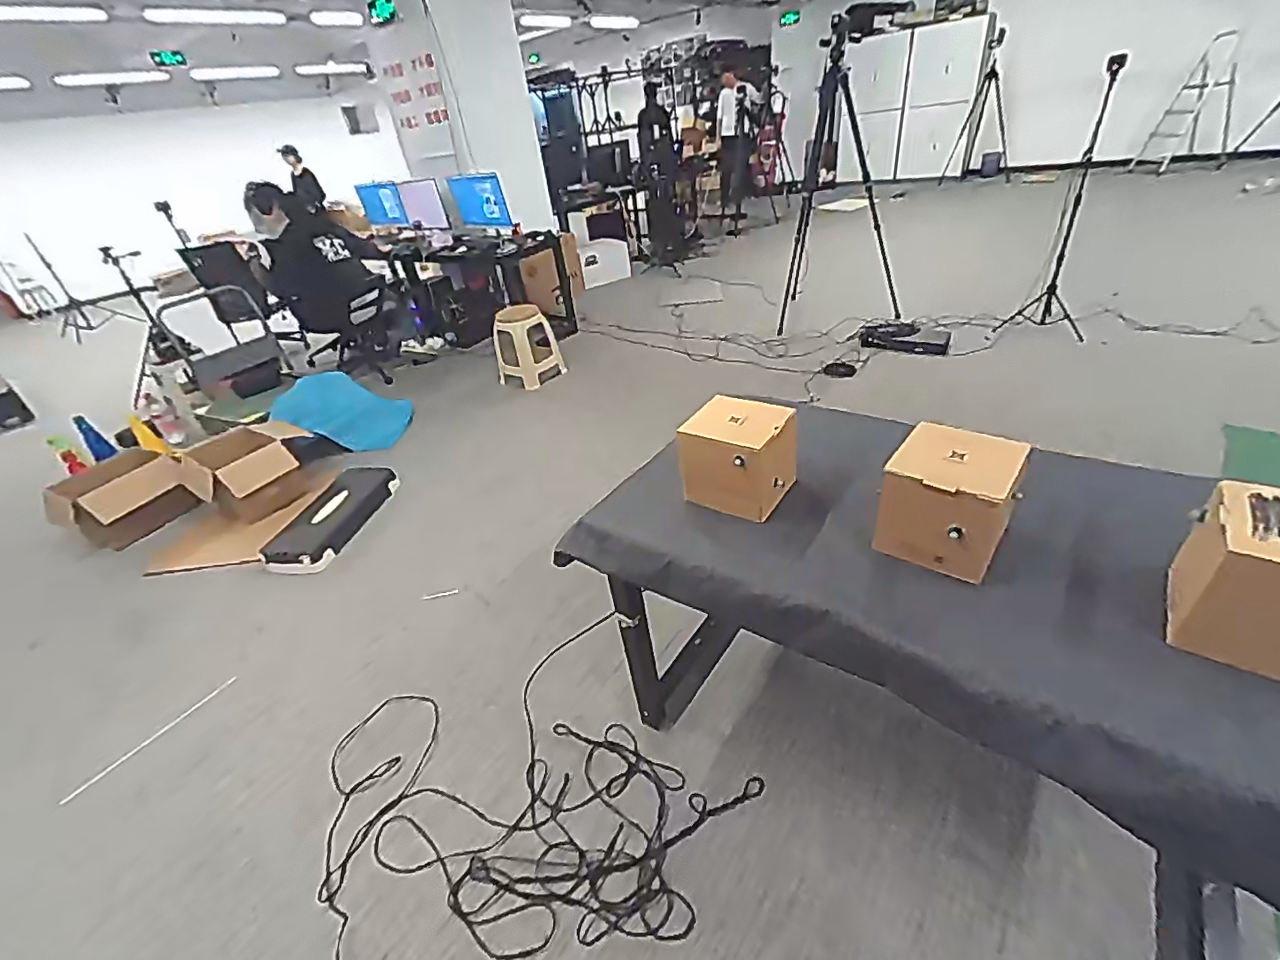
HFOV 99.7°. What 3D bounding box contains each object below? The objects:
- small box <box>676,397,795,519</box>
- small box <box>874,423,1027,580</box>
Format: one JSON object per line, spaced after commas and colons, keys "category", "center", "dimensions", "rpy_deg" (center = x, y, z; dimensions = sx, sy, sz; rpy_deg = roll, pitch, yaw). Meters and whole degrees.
{"category": "small box", "center": [0.191, -0.046, 1.071], "dimensions": [0.179, 0.176, 0.168], "rpy_deg": [17, 41, 32]}
{"category": "small box", "center": [0.499, 0.032, 0.885], "dimensions": [0.168, 0.176, 0.179], "rpy_deg": [21, 43, 35]}
